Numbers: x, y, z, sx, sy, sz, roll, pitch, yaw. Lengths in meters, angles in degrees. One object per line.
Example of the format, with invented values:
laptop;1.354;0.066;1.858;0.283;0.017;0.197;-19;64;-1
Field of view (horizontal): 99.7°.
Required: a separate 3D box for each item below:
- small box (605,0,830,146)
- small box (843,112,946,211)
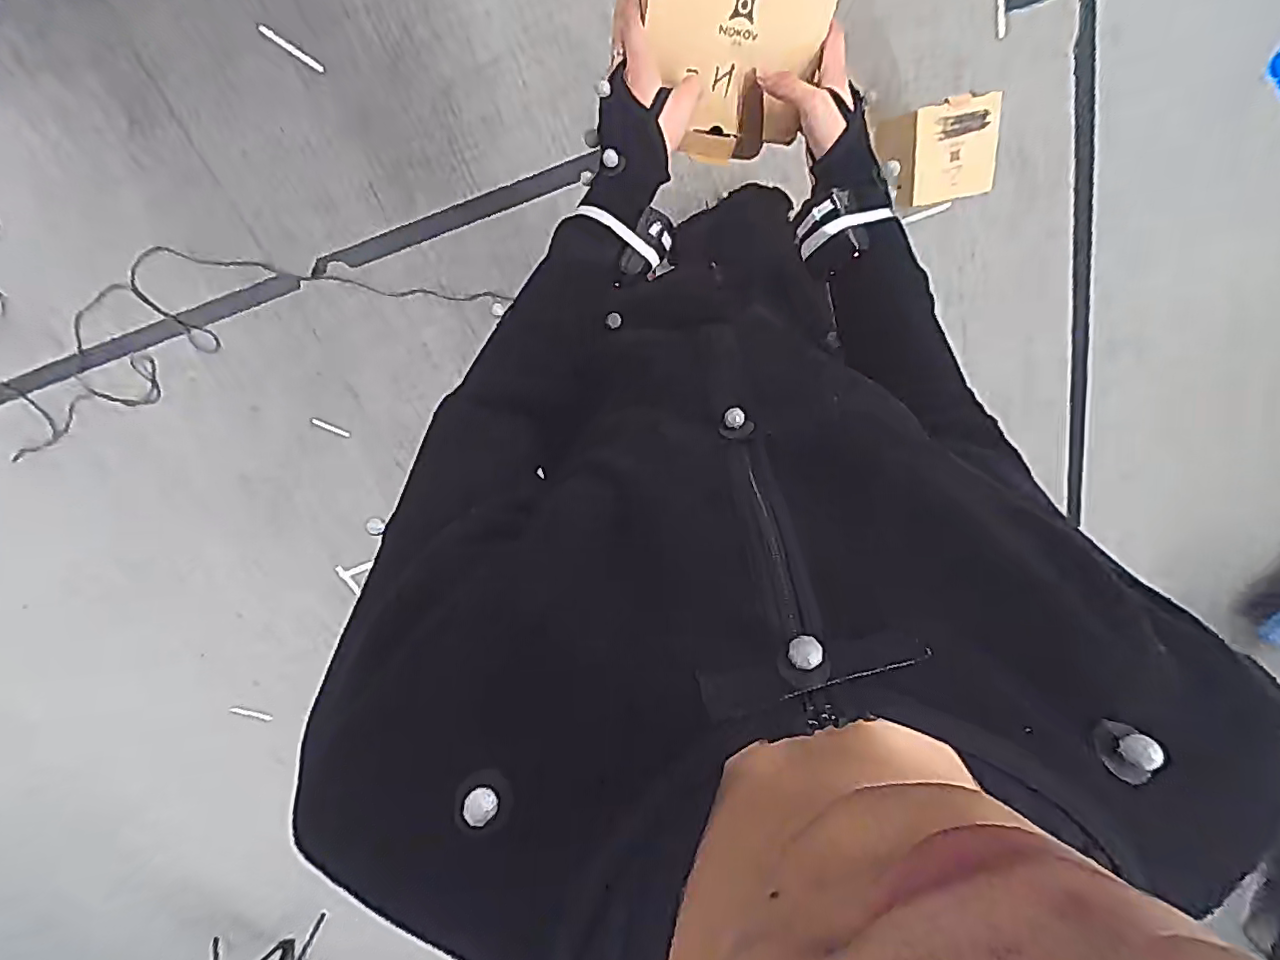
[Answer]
small box;0.064;-0.447;0.513;0.168;0.176;0.179;-1;134;-14
small box;0.602;-0.754;1.299;0.179;0.176;0.168;-16;117;3
